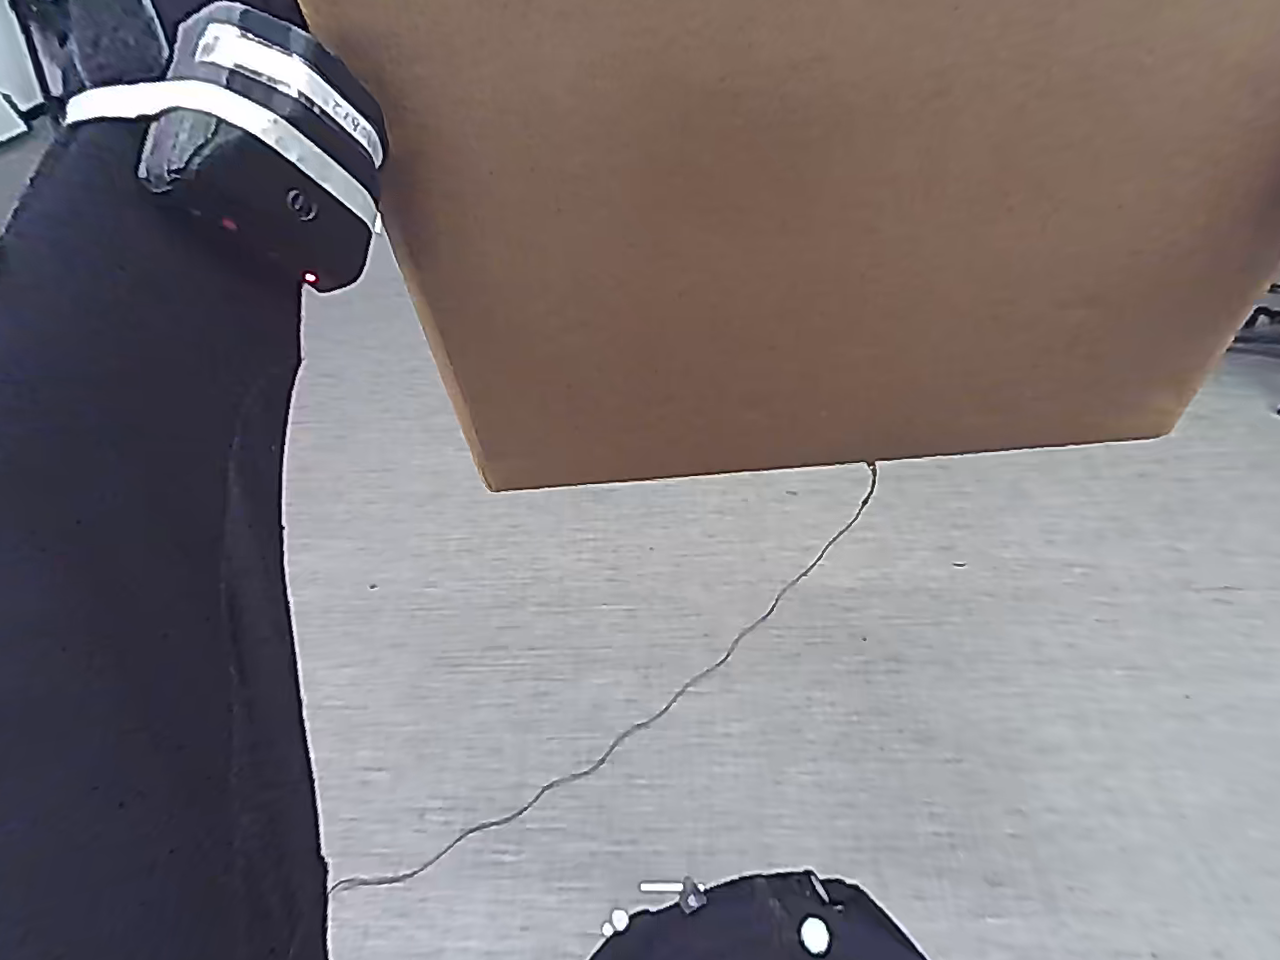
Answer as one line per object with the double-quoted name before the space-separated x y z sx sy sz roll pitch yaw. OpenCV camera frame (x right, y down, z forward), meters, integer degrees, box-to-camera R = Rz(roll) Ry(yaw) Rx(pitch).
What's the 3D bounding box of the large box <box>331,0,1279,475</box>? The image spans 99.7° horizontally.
"large box" 0.085 -0.226 0.343 0.408 0.320 0.320 -4 41 2
